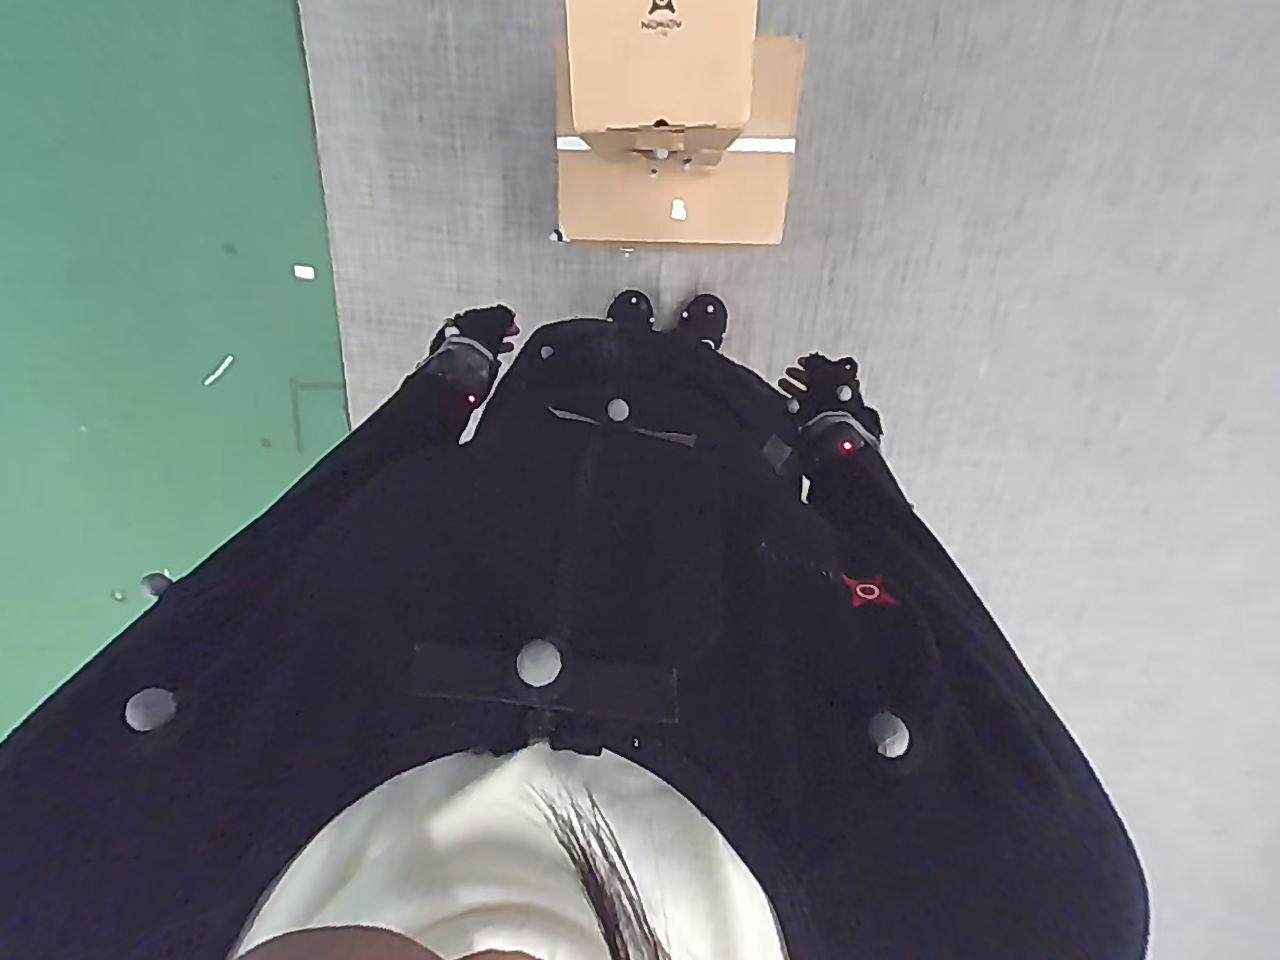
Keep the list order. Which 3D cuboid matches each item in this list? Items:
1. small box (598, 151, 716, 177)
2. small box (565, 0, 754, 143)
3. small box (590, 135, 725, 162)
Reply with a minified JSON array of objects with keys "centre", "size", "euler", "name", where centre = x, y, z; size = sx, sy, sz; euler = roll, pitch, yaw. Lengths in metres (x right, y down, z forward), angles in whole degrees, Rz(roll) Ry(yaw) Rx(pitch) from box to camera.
[{"centre":[0.037,-0.576,0.832],"size":[0.179,0.176,0.168],"euler":[9,115,0],"name":"small box"},{"centre":[0.021,-0.443,0.538],"size":[0.168,0.176,0.179],"euler":[0,117,3],"name":"small box"},{"centre":[0.027,-0.511,0.686],"size":[0.168,0.176,0.179],"euler":[1,115,2],"name":"small box"}]
